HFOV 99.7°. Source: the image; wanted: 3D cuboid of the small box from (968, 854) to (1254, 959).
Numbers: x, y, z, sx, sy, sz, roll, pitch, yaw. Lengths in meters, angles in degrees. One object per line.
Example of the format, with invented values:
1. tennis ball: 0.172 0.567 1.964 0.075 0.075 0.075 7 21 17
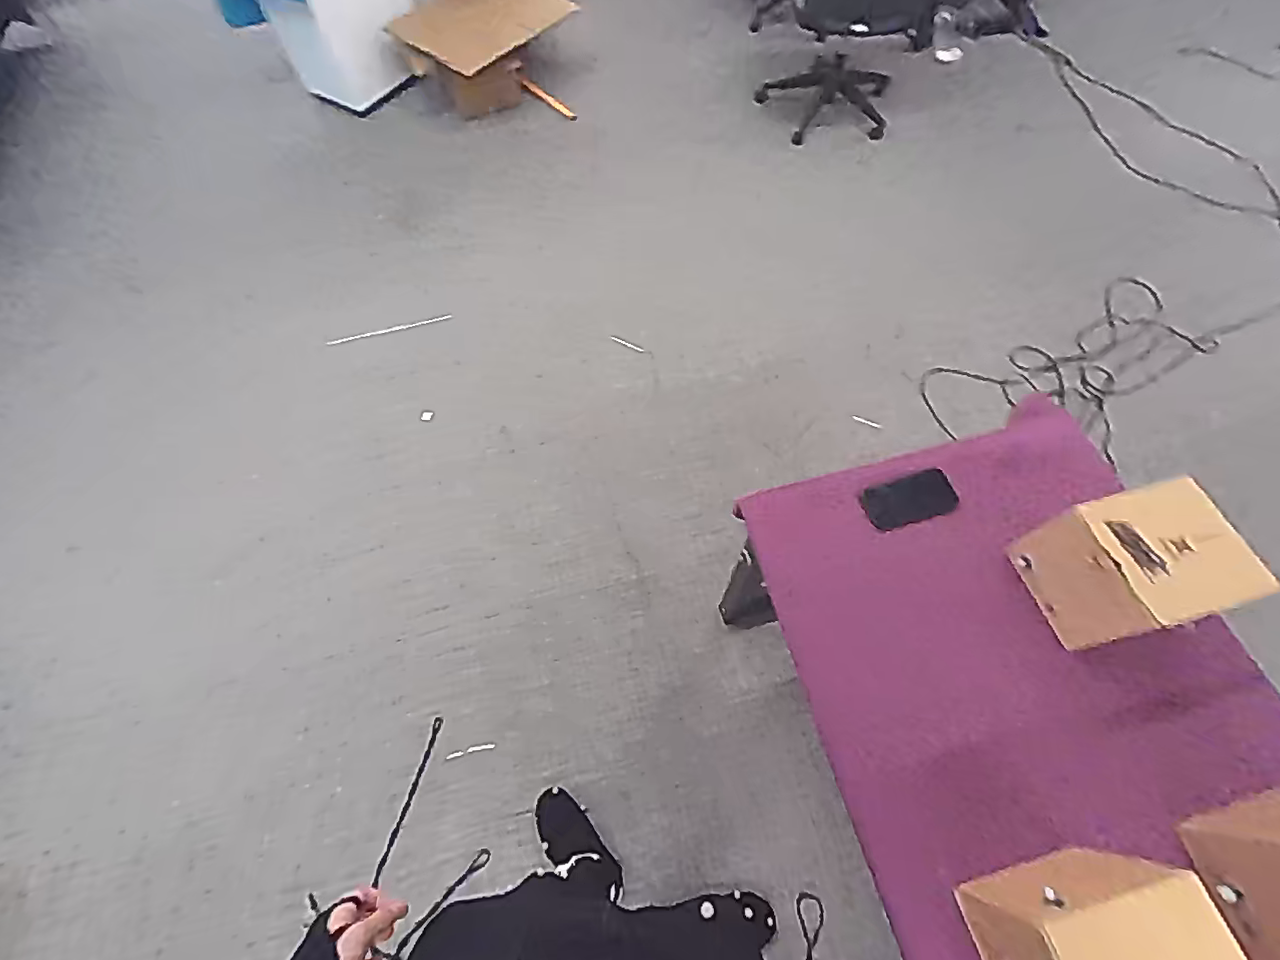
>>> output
1. small box: 0.492 0.514 0.557 0.179 0.176 0.168 -14 63 -5

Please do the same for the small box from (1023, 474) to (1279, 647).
1. small box: 0.678 0.118 0.746 0.179 0.176 0.168 -15 63 -5

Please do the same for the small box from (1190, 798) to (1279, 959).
1. small box: 0.777 0.449 0.576 0.179 0.176 0.168 -14 63 -3
